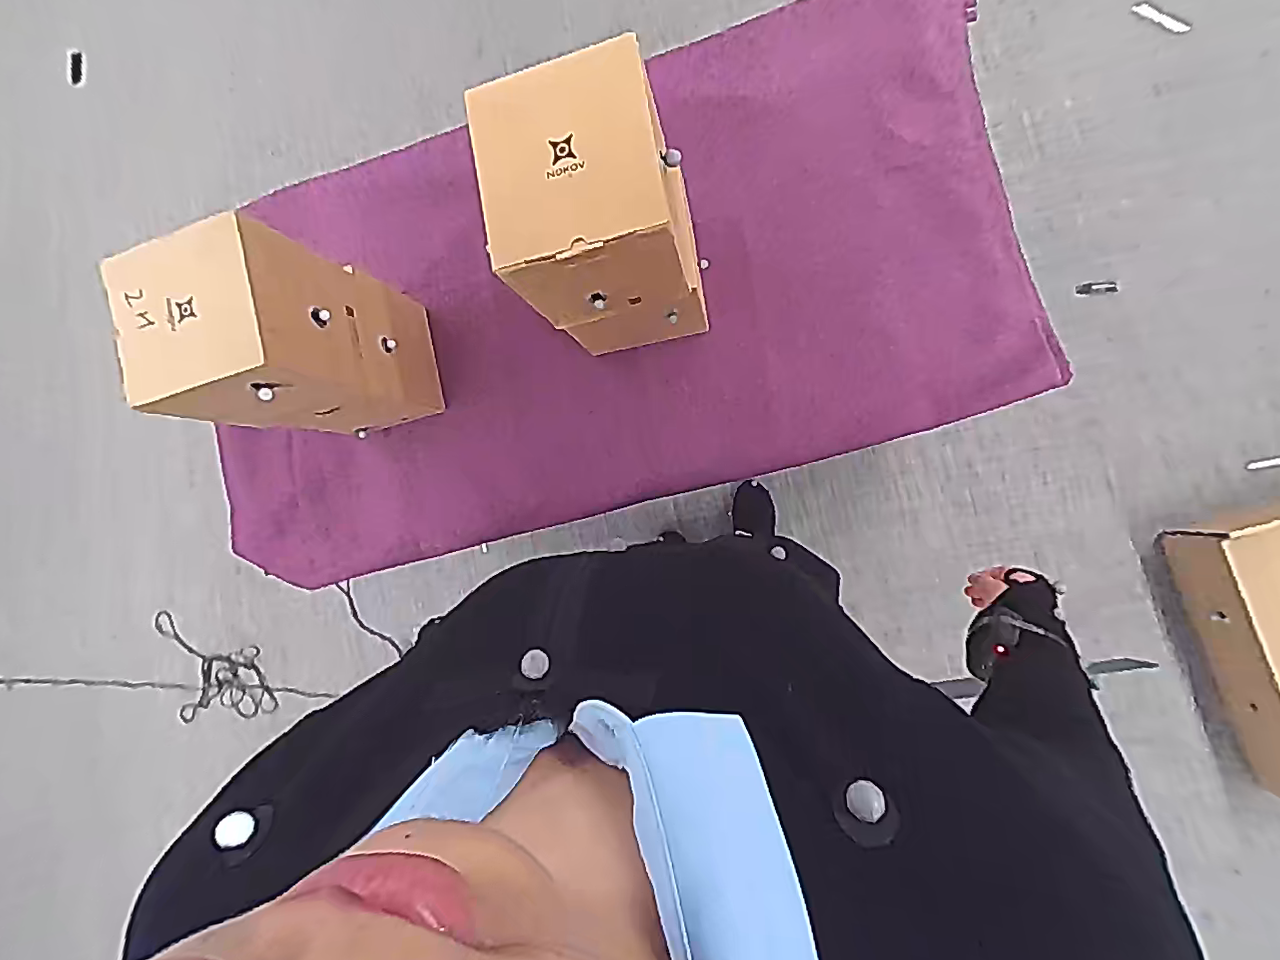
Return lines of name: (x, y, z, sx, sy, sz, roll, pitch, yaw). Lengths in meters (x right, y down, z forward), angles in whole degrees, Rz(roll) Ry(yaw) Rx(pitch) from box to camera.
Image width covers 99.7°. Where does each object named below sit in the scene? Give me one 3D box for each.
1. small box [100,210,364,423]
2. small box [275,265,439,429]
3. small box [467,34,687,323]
small box: (-0.450, -0.171, 0.626, 0.179, 0.176, 0.168, -14, 86, 10)
small box: (-0.418, -0.177, 0.788, 0.168, 0.176, 0.179, -13, 86, 10)
small box: (-0.052, -0.284, 0.552, 0.168, 0.176, 0.179, -11, 87, 11)
